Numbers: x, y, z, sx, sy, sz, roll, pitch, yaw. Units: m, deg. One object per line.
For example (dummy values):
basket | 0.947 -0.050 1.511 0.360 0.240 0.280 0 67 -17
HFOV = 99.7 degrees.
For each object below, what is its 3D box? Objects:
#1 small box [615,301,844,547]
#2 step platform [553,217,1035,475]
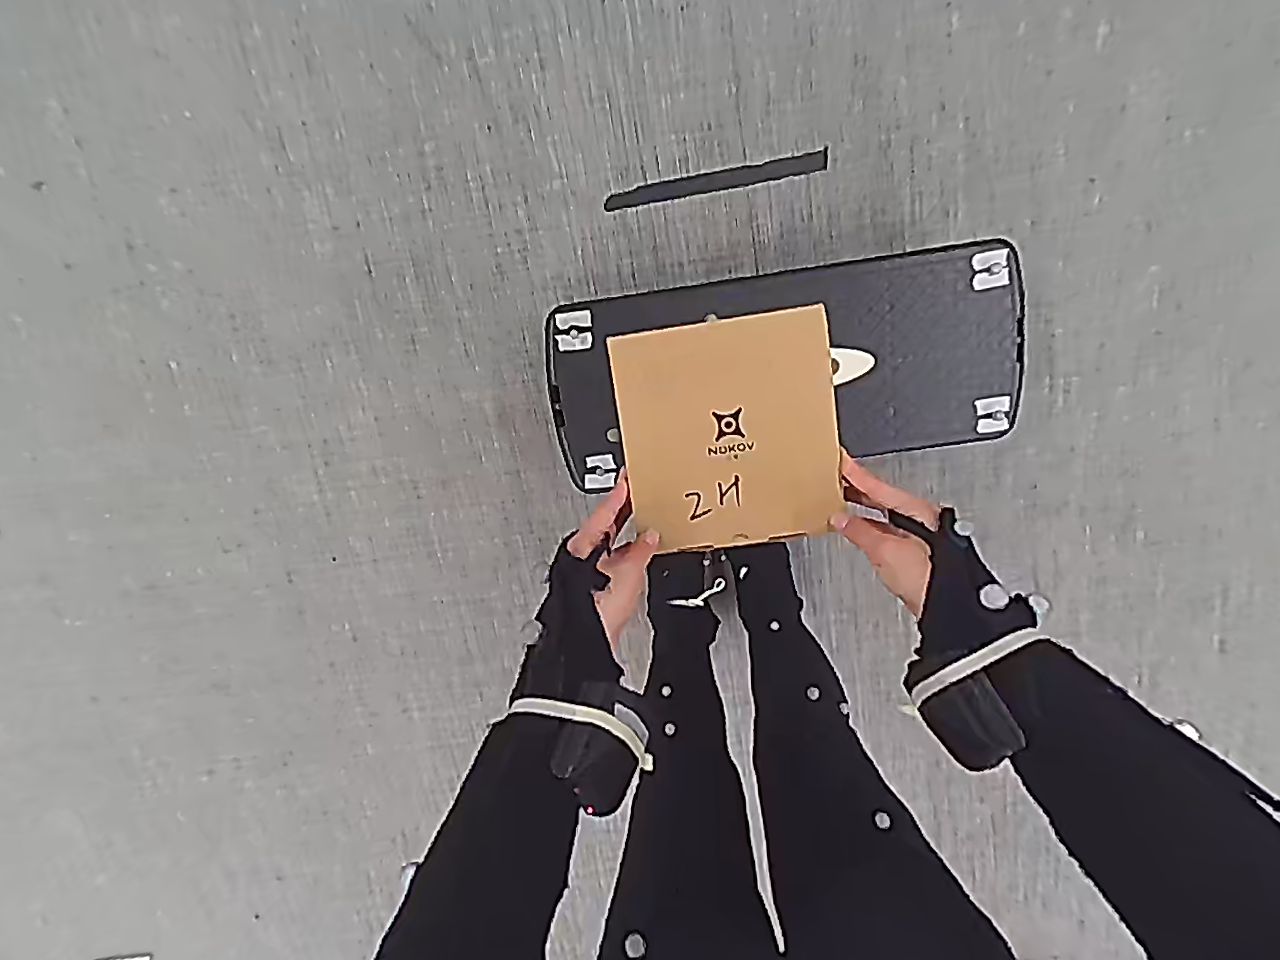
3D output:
small box | 0.074 -0.051 0.498 0.168 0.176 0.179 -7 98 5
step platform | 0.213 -0.194 0.834 0.684 0.204 0.286 -8 102 4
